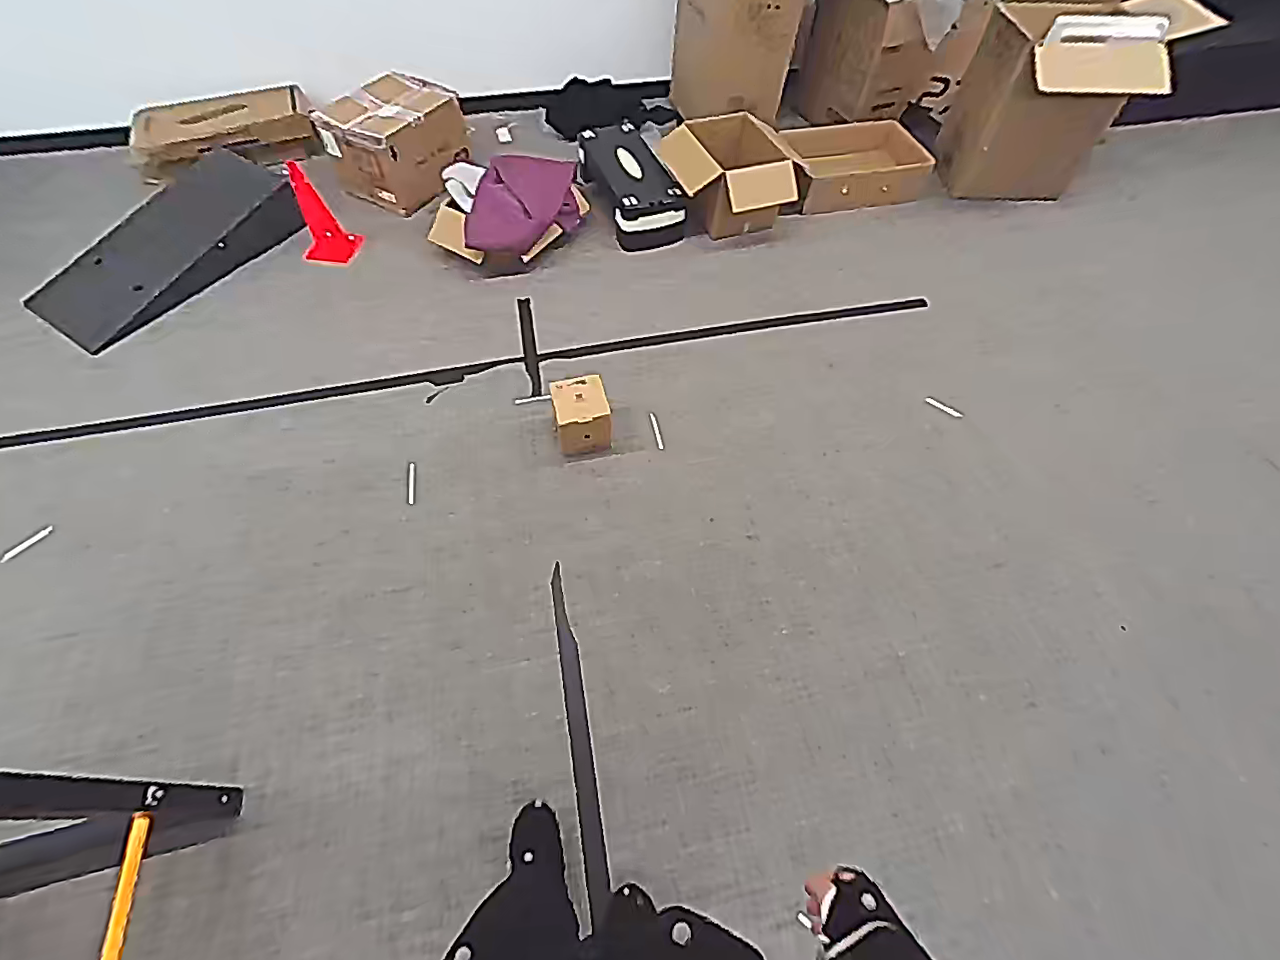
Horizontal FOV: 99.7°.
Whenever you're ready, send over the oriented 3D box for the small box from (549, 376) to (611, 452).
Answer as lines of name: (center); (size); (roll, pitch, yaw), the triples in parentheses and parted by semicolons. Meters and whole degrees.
small box: (-0.189, -0.205, 1.740); (0.168, 0.176, 0.179); (-12, 60, -9)
